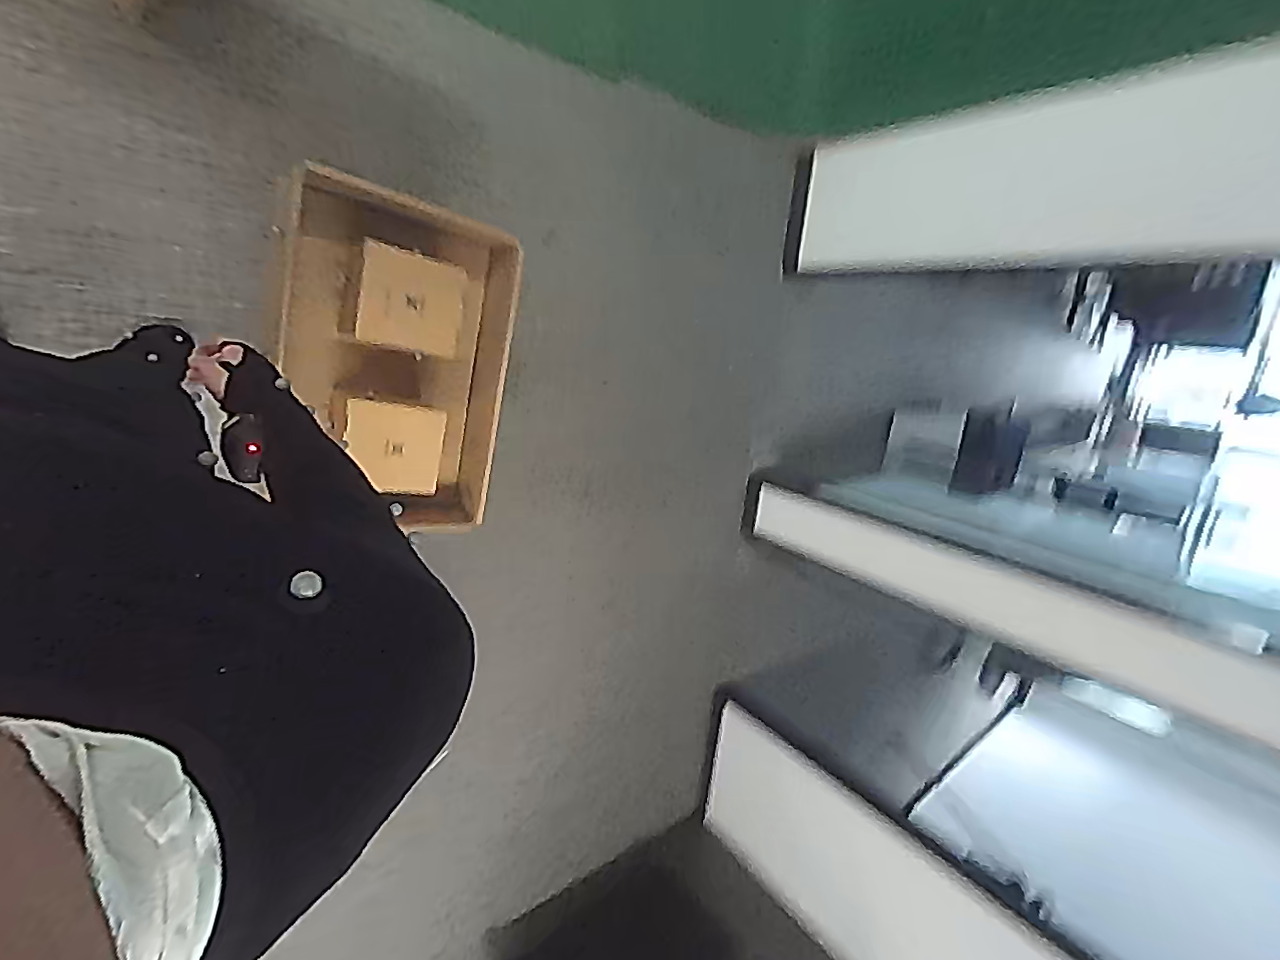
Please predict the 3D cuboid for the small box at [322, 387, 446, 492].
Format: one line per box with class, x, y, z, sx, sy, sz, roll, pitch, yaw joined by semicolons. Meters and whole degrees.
small box;-0.513;-0.082;1.076;0.179;0.176;0.168;5;103;-40
